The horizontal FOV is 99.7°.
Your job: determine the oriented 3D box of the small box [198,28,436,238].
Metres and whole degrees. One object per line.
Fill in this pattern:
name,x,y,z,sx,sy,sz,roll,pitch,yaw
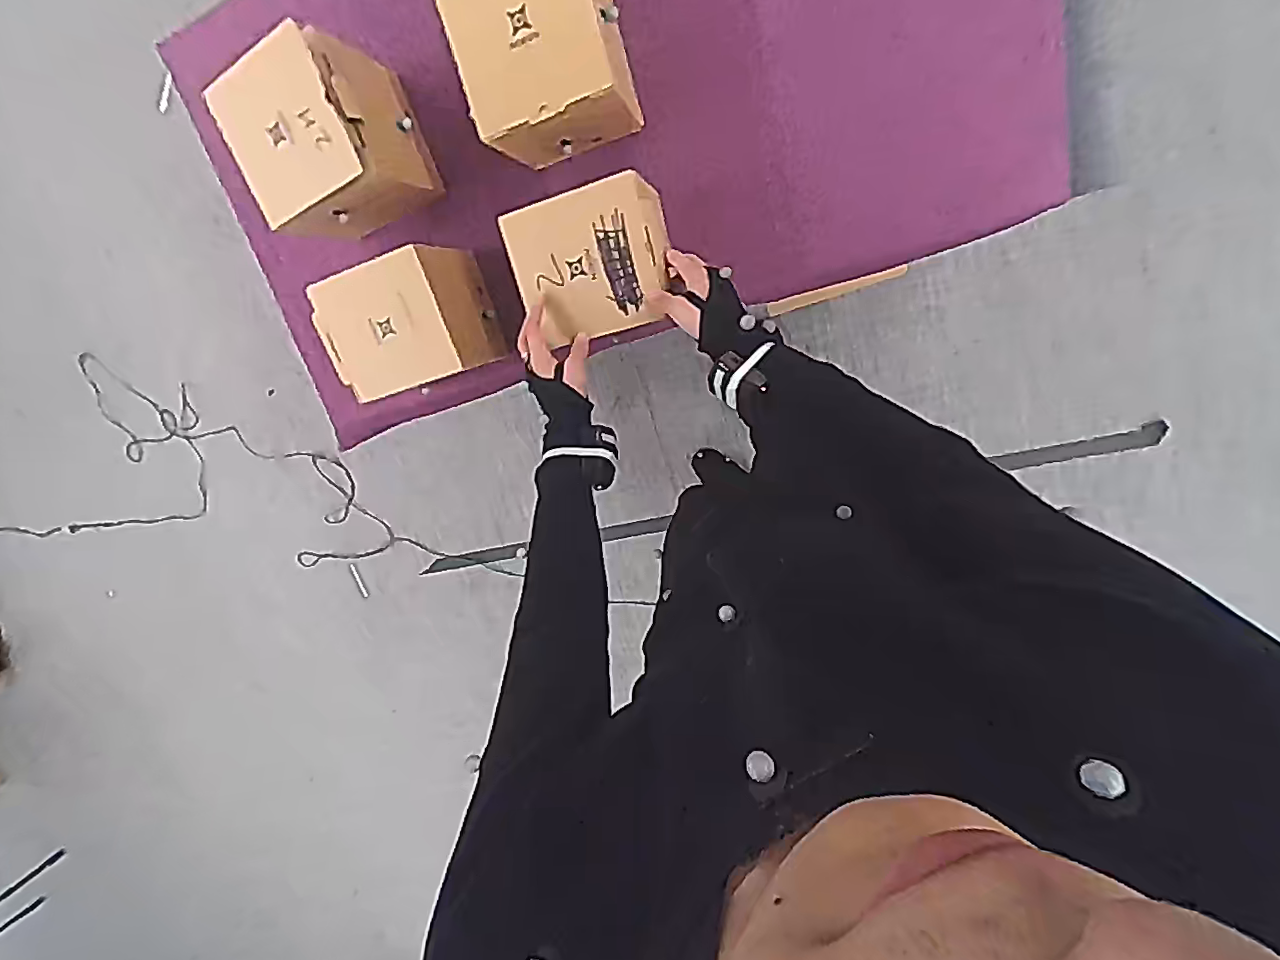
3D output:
small box,-0.414,-0.438,0.722,0.179,0.176,0.168,-16,107,15

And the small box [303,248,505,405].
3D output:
small box,-0.328,-0.222,0.787,0.179,0.176,0.168,-14,107,14
